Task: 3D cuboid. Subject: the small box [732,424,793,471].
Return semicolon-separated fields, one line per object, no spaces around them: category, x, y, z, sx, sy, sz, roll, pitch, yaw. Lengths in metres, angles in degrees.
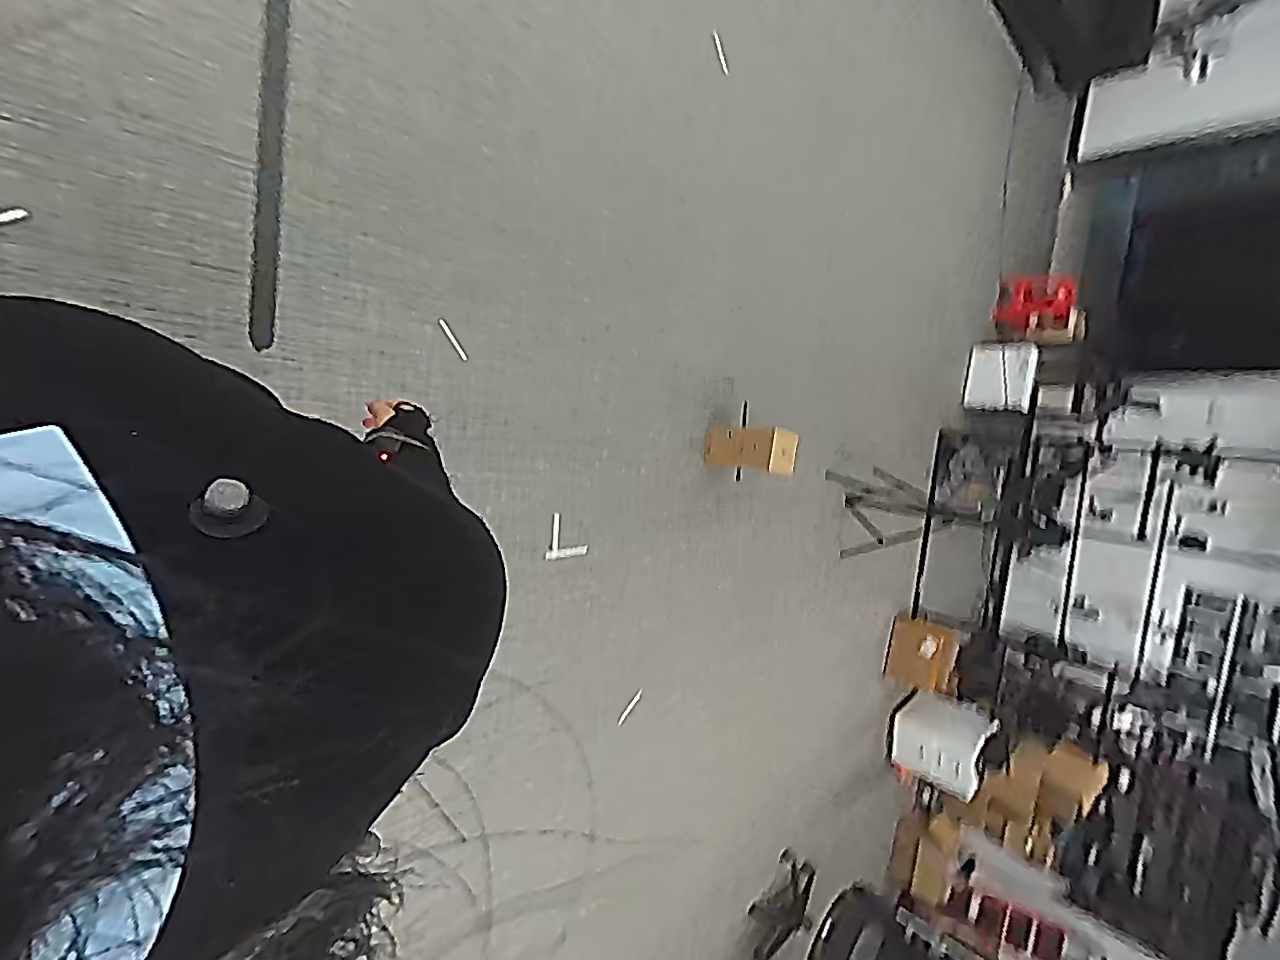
small box;0.497;-0.133;2.202;0.179;0.176;0.168;6;94;-45
